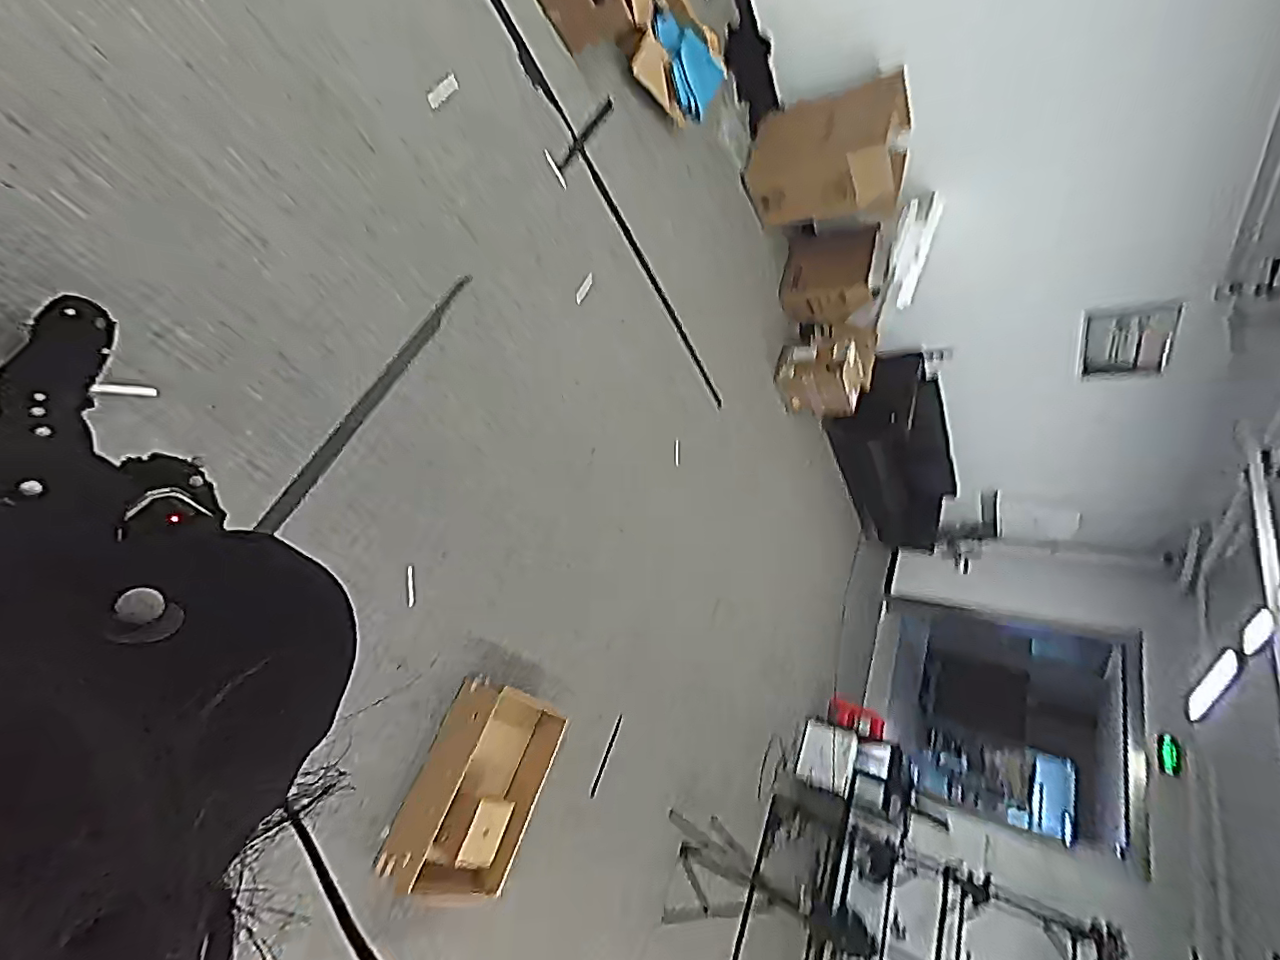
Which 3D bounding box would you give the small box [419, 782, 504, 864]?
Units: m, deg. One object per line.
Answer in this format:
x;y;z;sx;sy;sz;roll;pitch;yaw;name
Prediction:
-0.584;1.112;1.754;0.168;0.176;0.179;47;54;-46;small box
